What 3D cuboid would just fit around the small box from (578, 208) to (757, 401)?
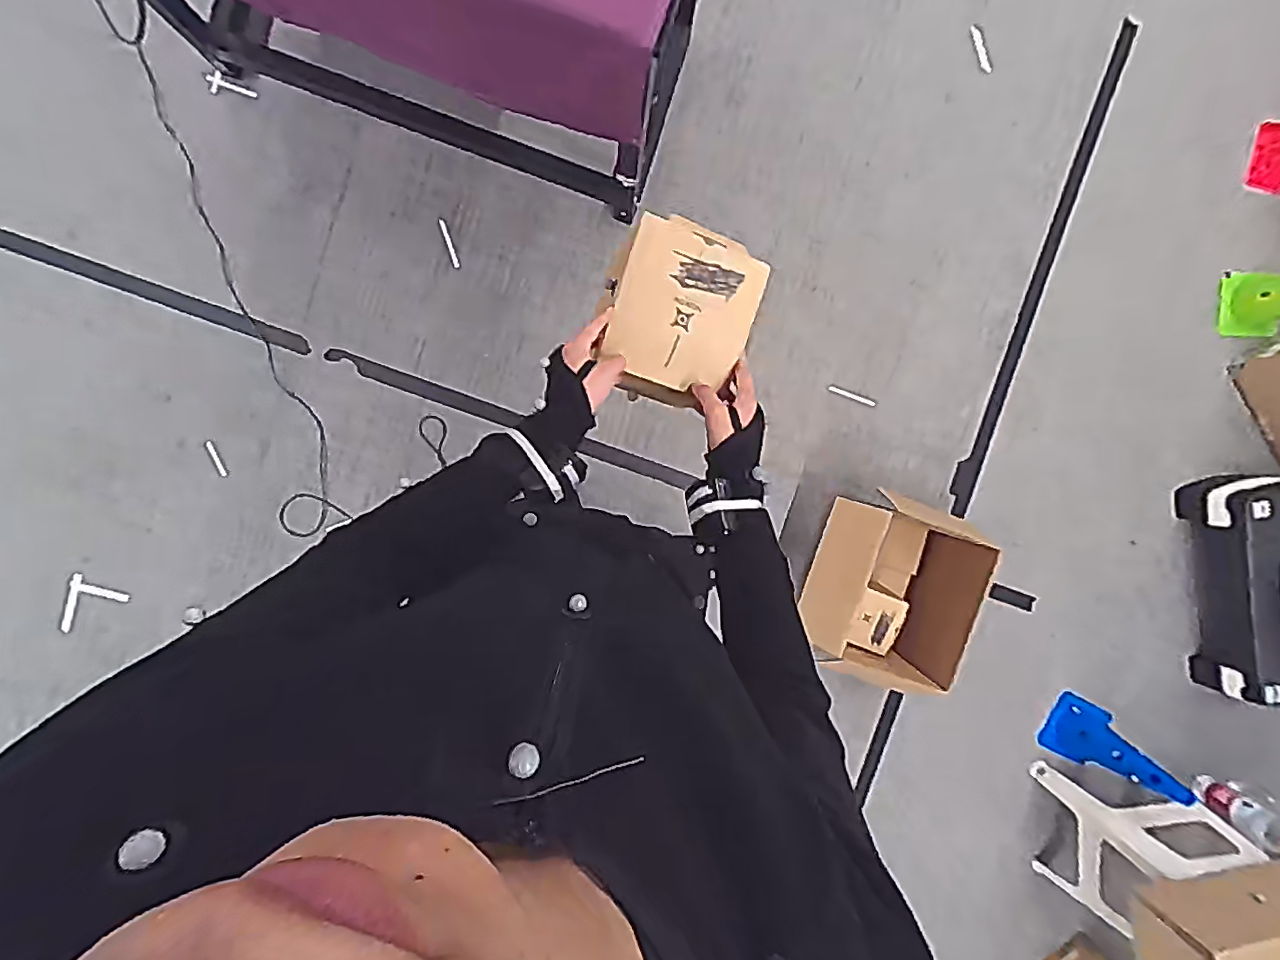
[{"bbox_3d":[0.024,-0.212,0.709,0.168,0.176,0.179,16,92,-14],"label":"small box"}]
